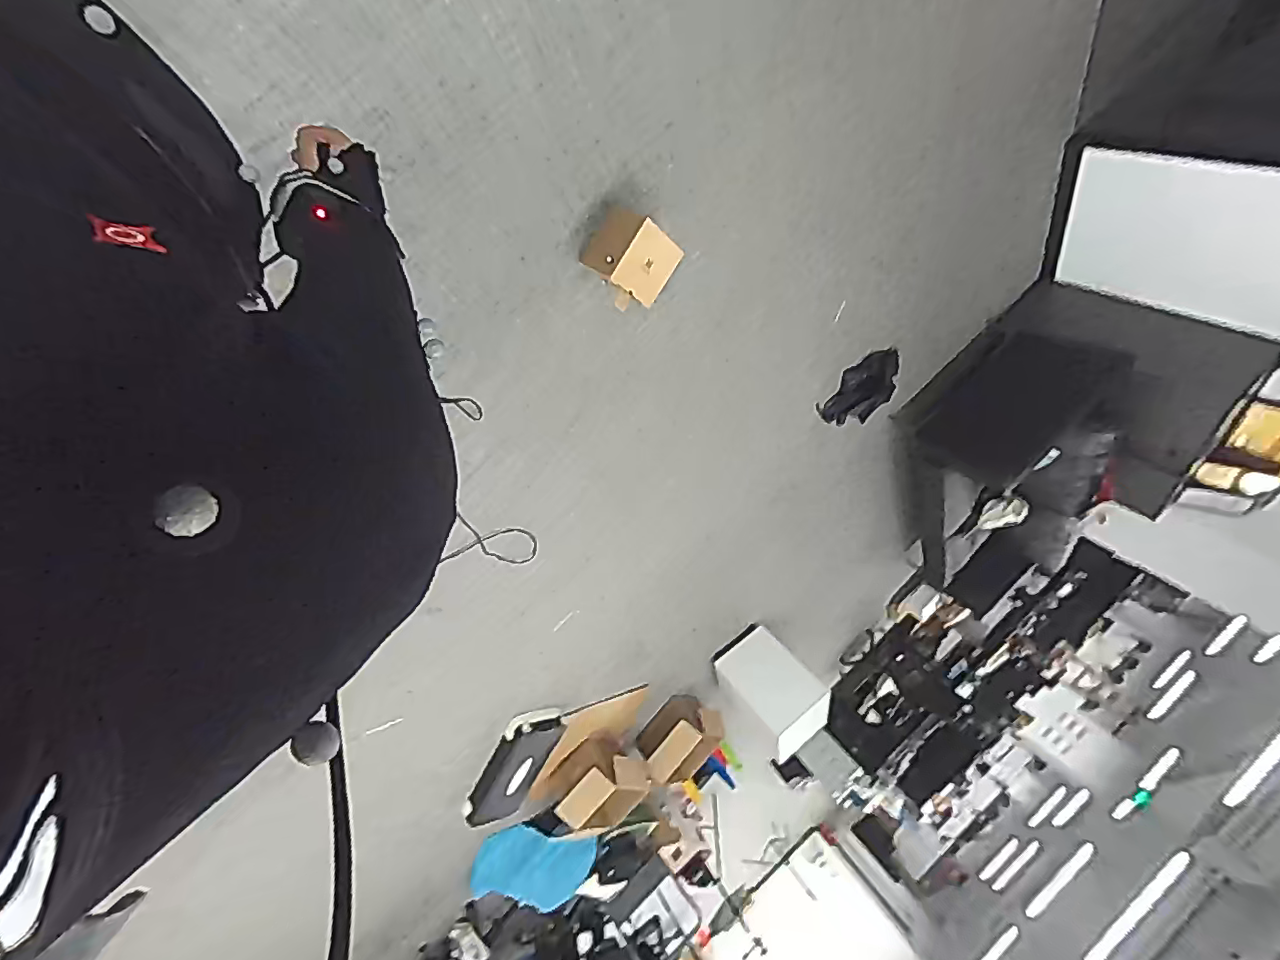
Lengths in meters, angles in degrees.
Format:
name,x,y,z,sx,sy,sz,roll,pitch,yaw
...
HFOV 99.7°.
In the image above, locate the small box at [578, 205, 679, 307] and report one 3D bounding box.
name,x,y,z,sx,sy,sz,roll,pitch,yaw
small box,-0.036,-0.604,1.454,0.168,0.176,0.179,21,108,-49
